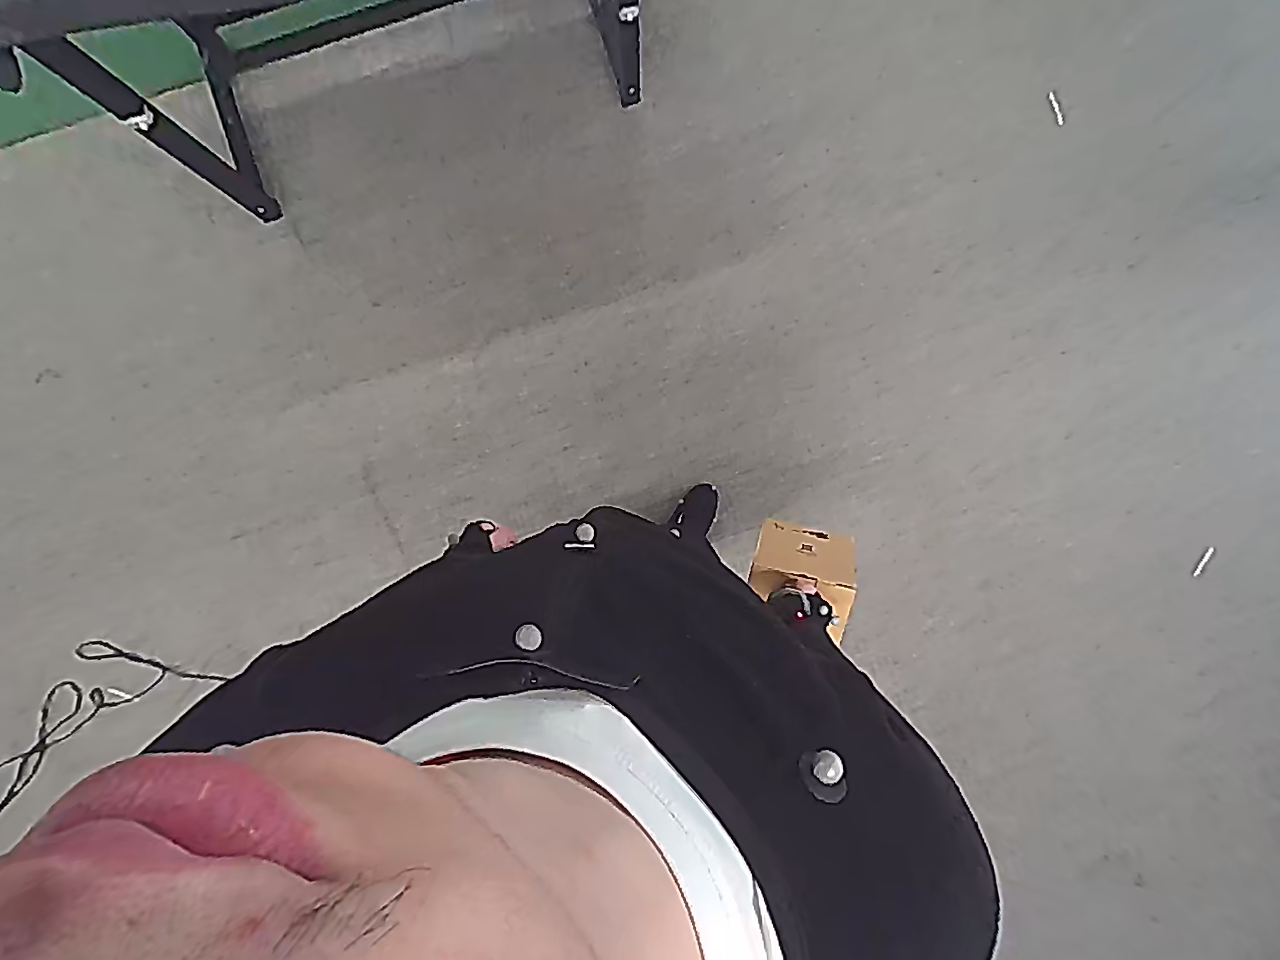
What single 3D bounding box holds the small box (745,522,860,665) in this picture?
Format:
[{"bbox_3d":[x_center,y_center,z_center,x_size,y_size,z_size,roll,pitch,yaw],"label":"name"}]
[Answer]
[{"bbox_3d":[0.288,0.200,0.971,0.168,0.179,0.176,11,116,13],"label":"small box"}]
